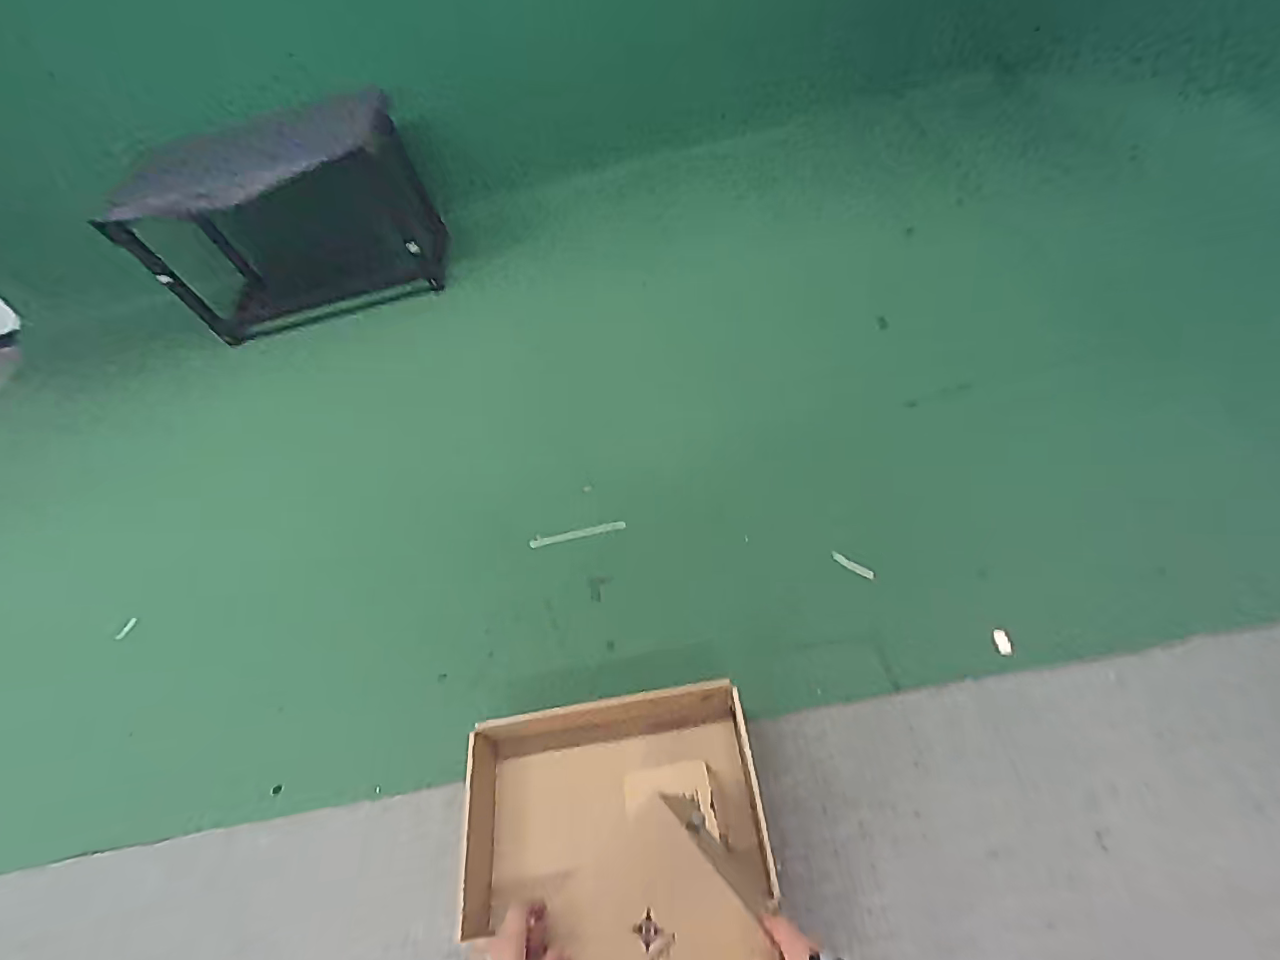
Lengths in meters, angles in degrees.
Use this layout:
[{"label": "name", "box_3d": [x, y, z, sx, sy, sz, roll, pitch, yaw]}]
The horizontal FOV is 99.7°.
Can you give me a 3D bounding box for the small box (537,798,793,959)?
[{"label": "small box", "box_3d": [0.033, 0.458, 0.545, 0.168, 0.176, 0.179, -43, 59, -11]}]
